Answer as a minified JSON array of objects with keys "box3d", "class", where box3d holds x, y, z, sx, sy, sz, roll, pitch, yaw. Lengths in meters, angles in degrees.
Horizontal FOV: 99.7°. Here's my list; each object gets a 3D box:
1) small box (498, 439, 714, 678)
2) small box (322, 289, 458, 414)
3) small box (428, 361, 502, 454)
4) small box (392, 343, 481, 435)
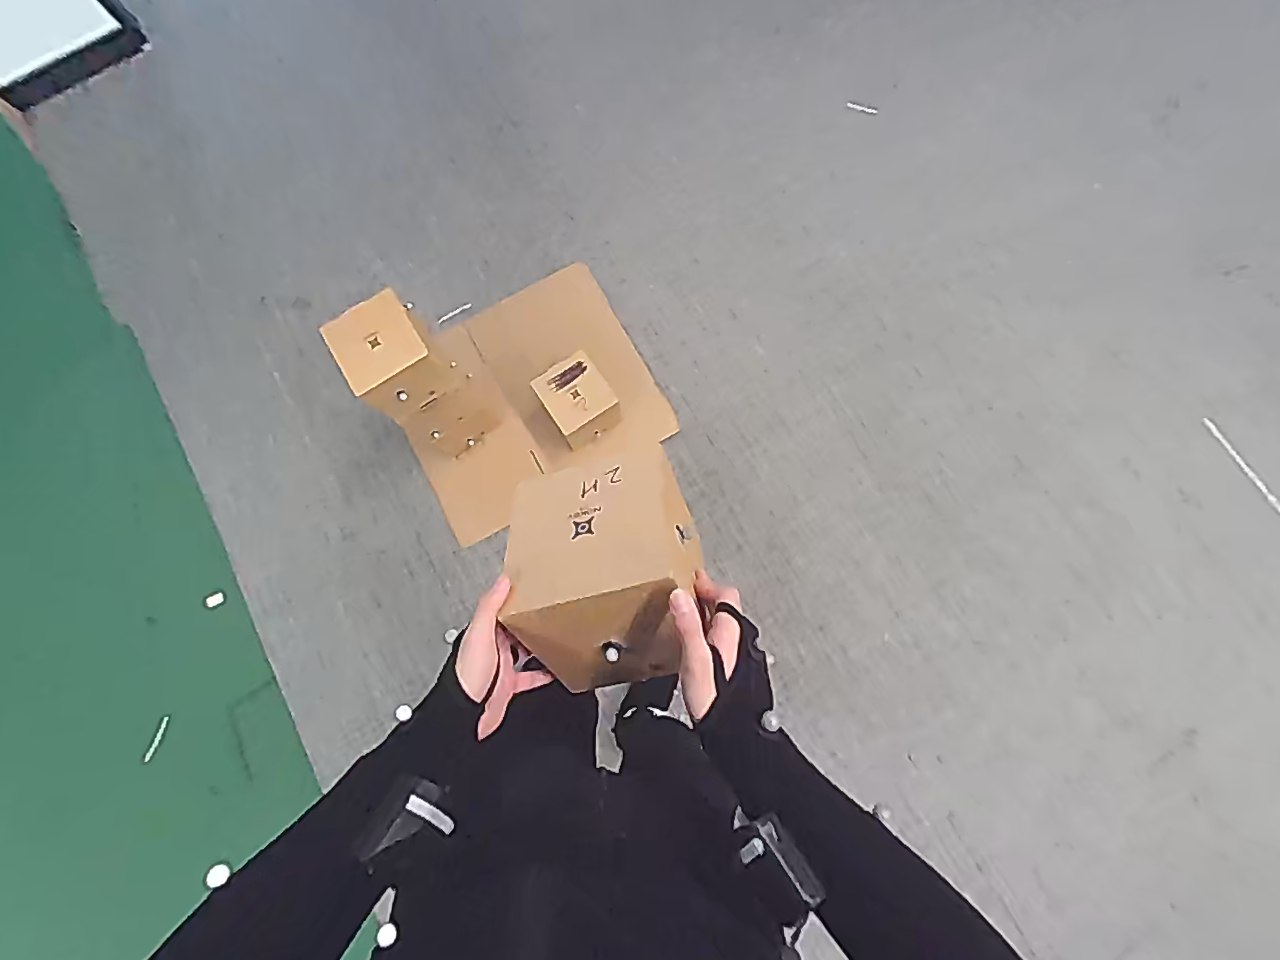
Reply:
[{"box3d":[-0.026,0.091,0.571,0.168,0.176,0.179,-15,43,11],"class":"small box"},{"box3d":[-0.516,-0.258,1.142,0.168,0.176,0.179,-33,79,-3],"class":"small box"},{"box3d":[-0.504,-0.194,1.460,0.168,0.176,0.179,-36,80,-4],"class":"small box"},{"box3d":[-0.511,-0.224,1.300,0.168,0.176,0.179,-33,79,-3],"class":"small box"}]
